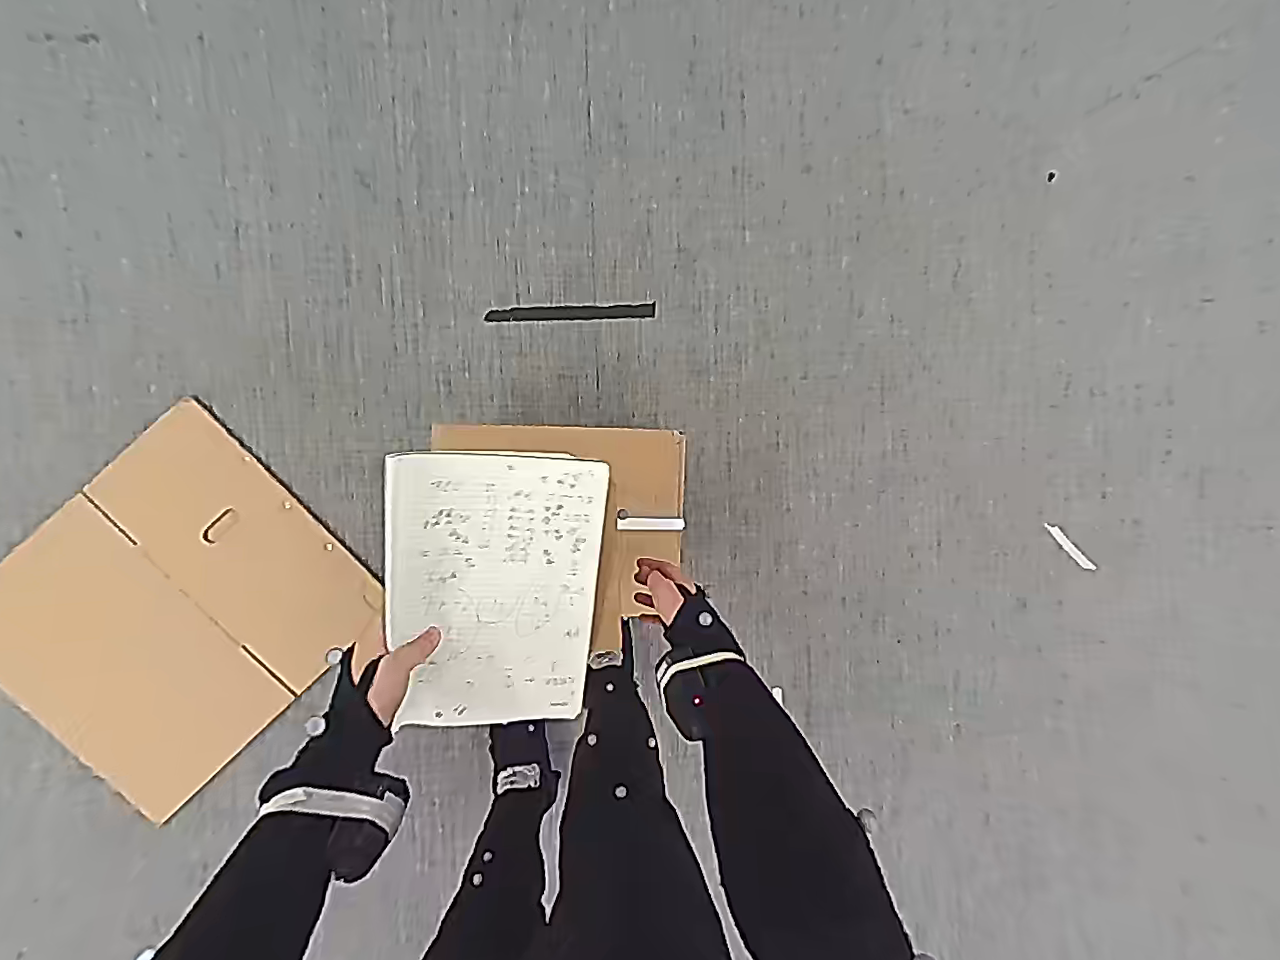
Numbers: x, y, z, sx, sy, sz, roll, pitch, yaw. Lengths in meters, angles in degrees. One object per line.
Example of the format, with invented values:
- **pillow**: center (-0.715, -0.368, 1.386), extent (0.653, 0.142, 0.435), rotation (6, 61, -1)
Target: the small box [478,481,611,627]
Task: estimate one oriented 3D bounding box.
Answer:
- **small box**: center (-0.128, 0.097, 0.784), extent (0.168, 0.176, 0.179), rotation (-5, 92, -4)
